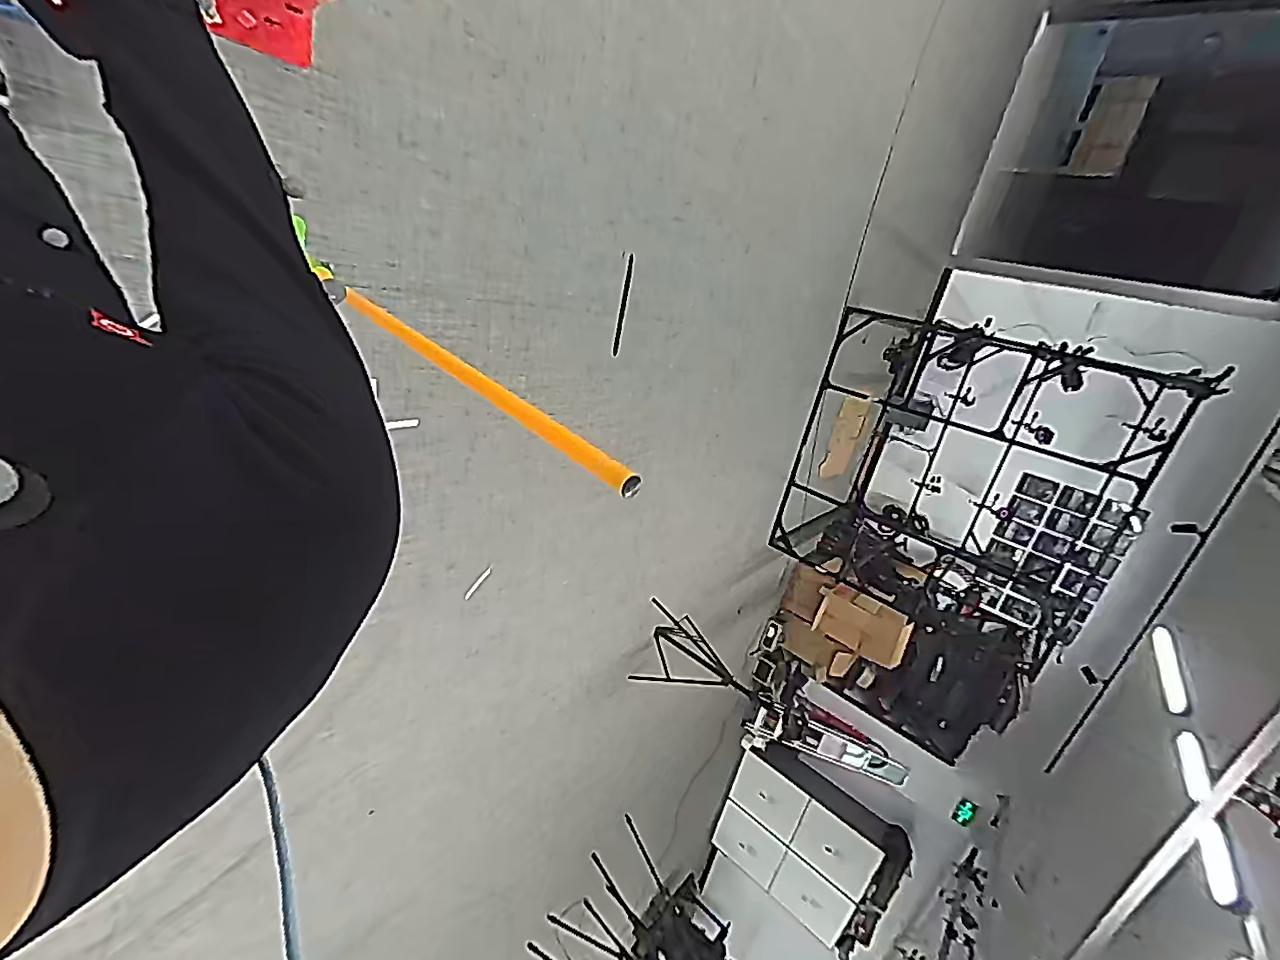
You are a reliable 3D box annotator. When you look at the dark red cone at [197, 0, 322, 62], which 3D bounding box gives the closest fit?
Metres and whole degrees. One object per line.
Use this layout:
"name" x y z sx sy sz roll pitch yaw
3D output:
"dark red cone" -0.594 -0.879 0.932 0.201 0.394 0.202 -15 125 -52
